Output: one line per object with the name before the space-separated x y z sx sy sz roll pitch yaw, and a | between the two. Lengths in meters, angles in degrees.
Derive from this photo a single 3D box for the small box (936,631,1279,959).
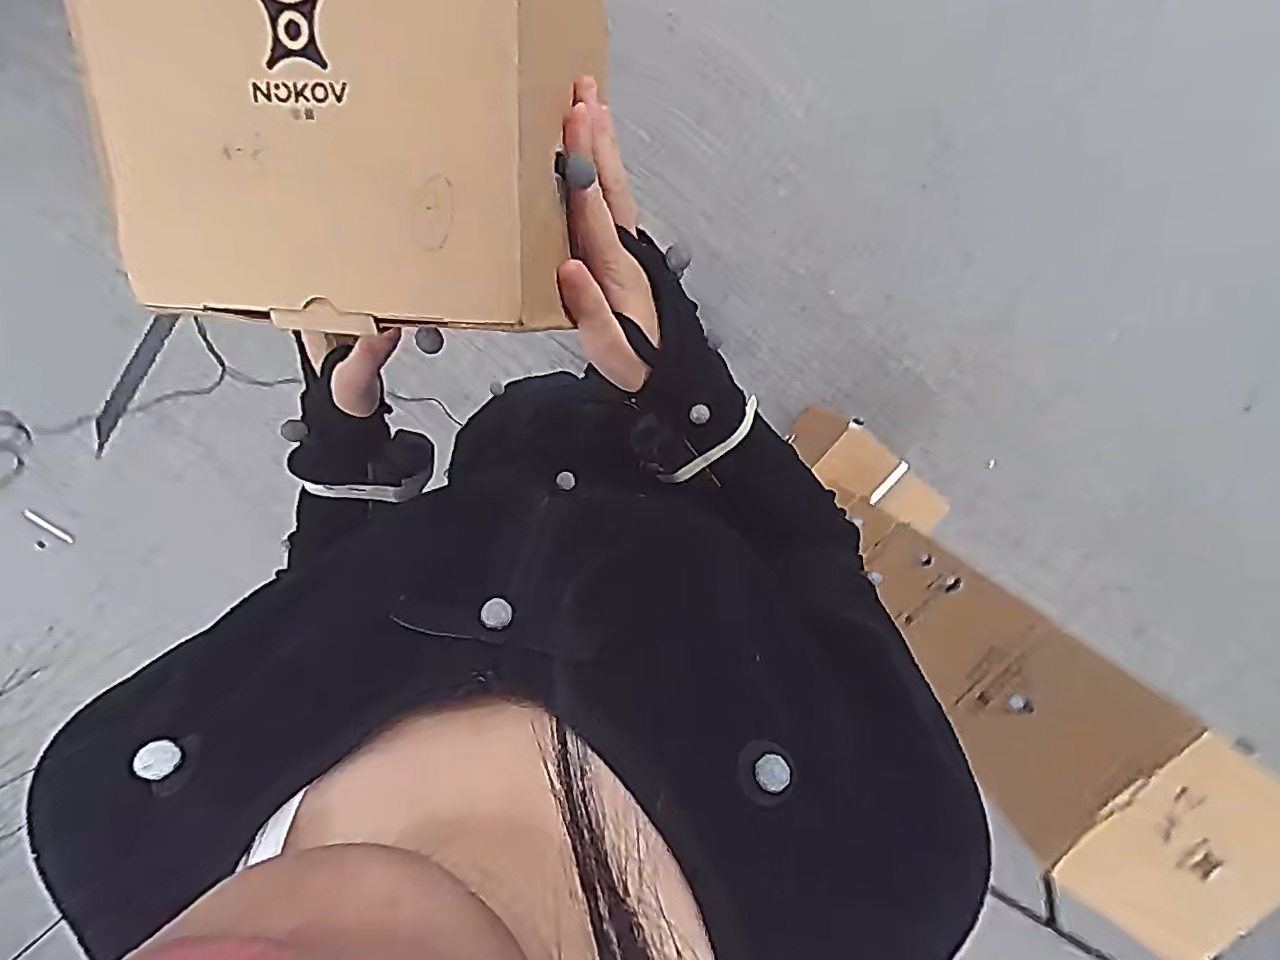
small box | 0.427 0.274 0.498 0.179 0.176 0.168 37 100 -7

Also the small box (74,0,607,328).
small box | -0.111 -0.172 0.266 0.168 0.176 0.179 4 107 5

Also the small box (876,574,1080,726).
small box | 0.429 0.237 0.659 0.179 0.176 0.168 39 100 -9

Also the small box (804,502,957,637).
small box | 0.432 0.164 0.979 0.179 0.176 0.168 38 100 -7

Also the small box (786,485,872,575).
small box | 0.434 0.134 1.138 0.168 0.176 0.179 37 101 -8
